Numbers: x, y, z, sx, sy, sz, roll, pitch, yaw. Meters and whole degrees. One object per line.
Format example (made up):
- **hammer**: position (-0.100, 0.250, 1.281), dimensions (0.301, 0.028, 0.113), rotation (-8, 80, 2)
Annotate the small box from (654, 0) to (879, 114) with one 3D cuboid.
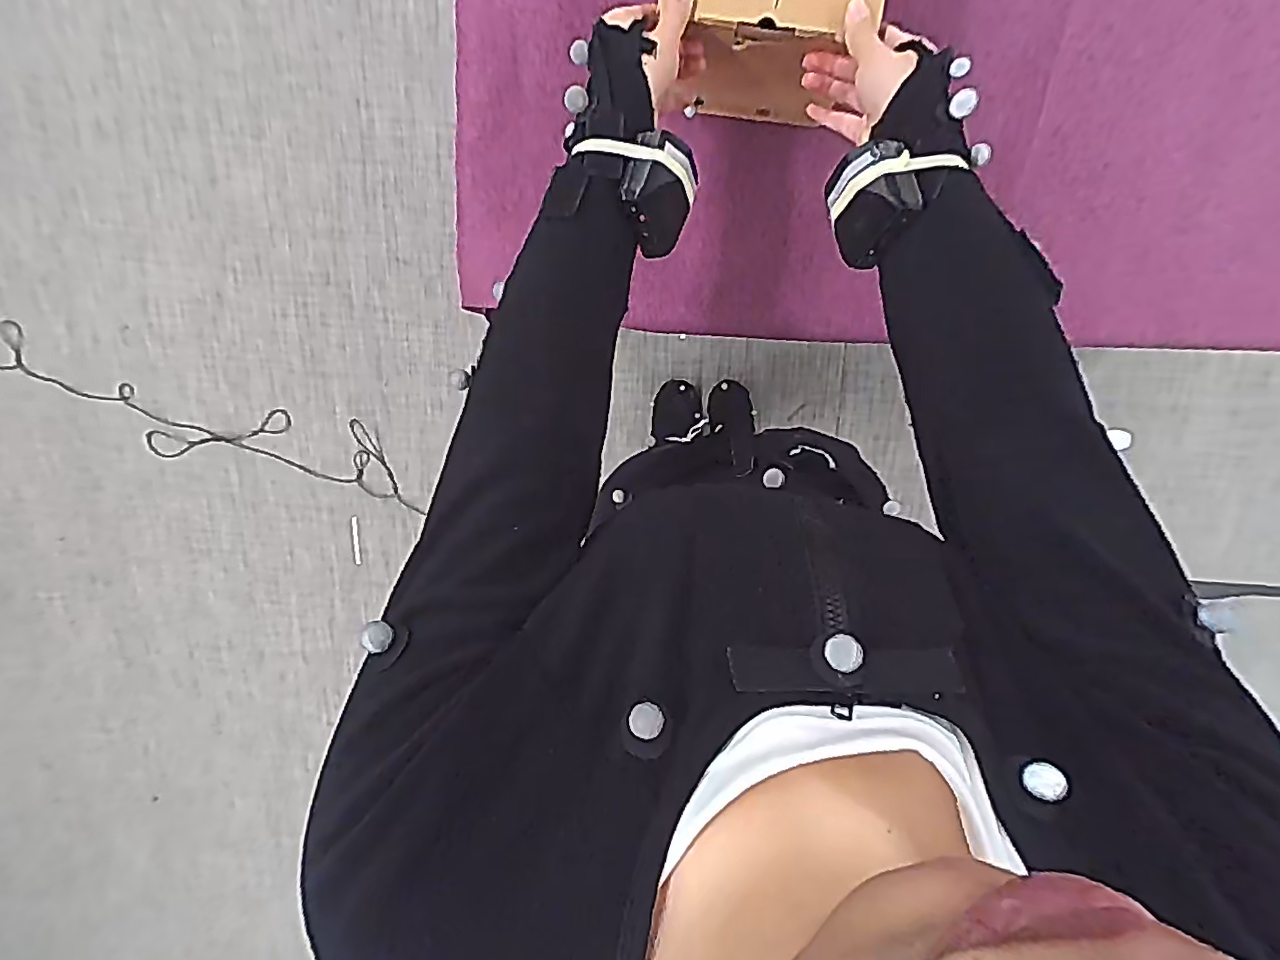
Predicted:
- **small box**: position (0.107, -0.441, 0.454), dimensions (0.168, 0.176, 0.179), rotation (8, 104, 1)
